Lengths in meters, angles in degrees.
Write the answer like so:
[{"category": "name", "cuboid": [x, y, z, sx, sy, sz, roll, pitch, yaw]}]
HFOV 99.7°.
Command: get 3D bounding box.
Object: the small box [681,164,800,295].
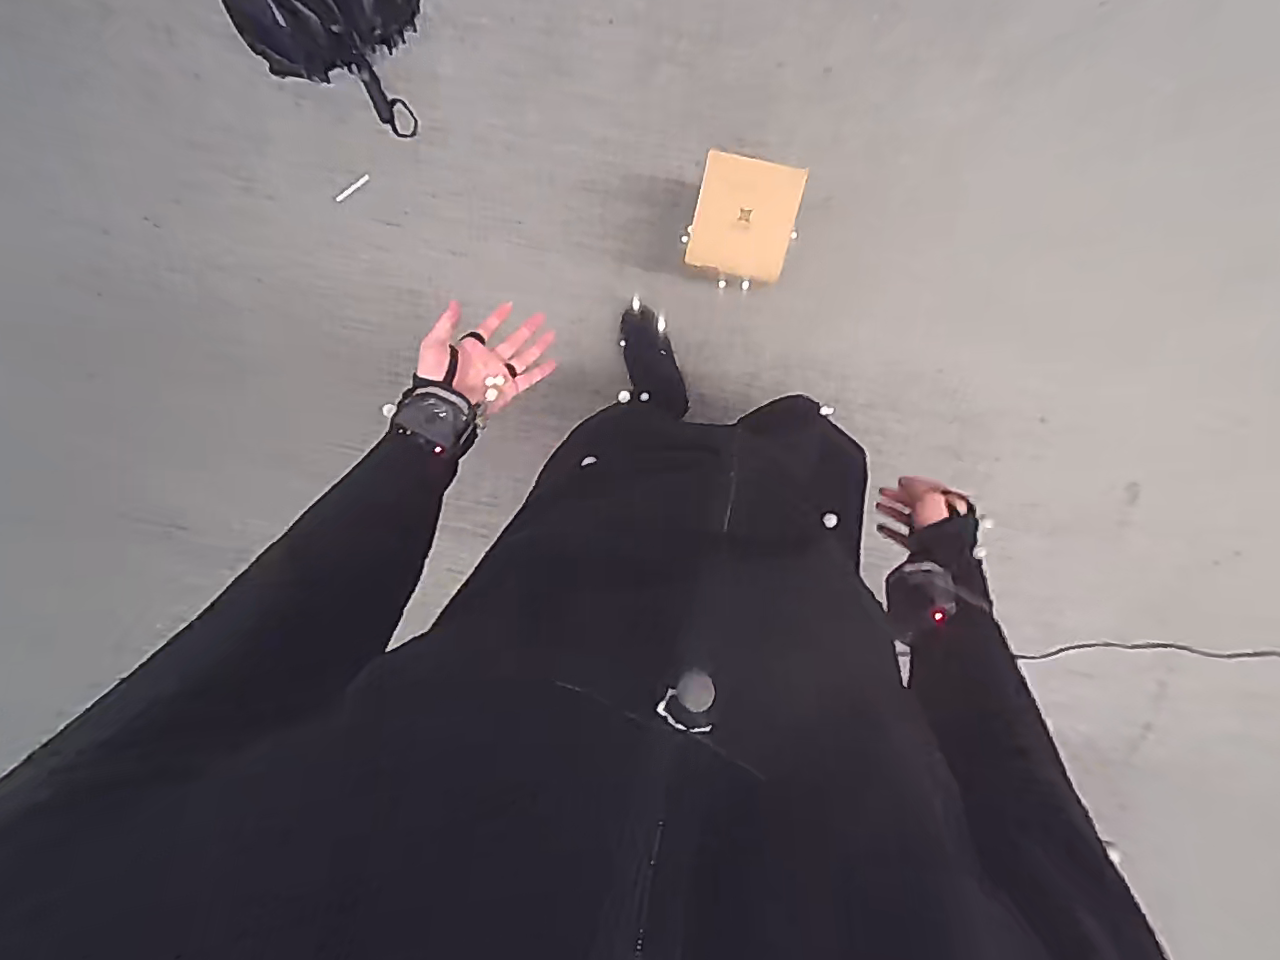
[{"category": "small box", "cuboid": [0.173, -0.441, 0.981, 0.168, 0.176, 0.179, 12, 107, 0]}]
